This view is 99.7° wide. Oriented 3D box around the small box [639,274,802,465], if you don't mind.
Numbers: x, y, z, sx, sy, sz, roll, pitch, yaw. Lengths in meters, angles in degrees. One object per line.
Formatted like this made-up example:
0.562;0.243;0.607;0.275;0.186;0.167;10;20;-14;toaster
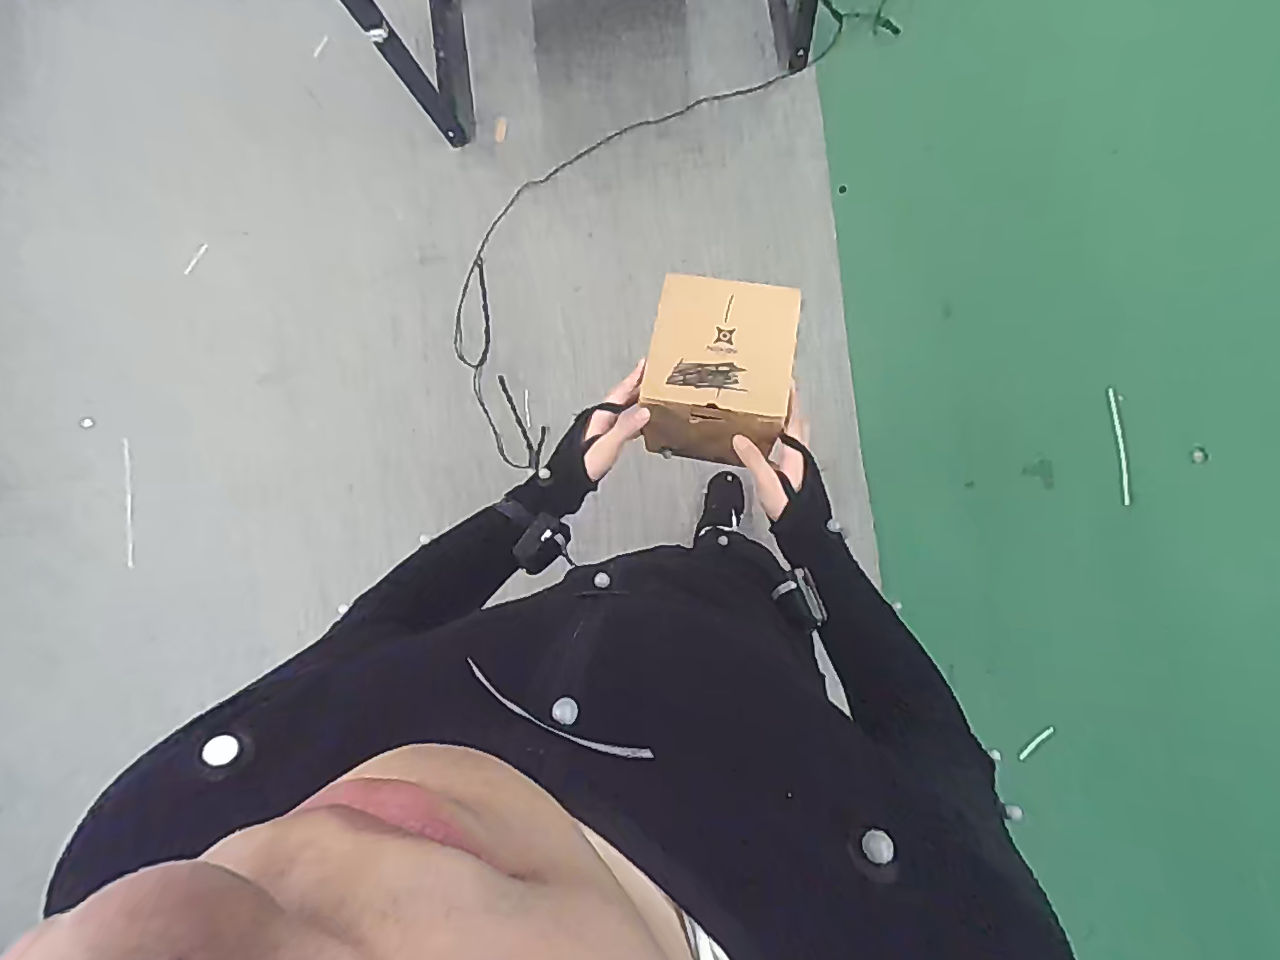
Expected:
0.102;-0.132;0.700;0.168;0.176;0.179;10;73;8;small box
